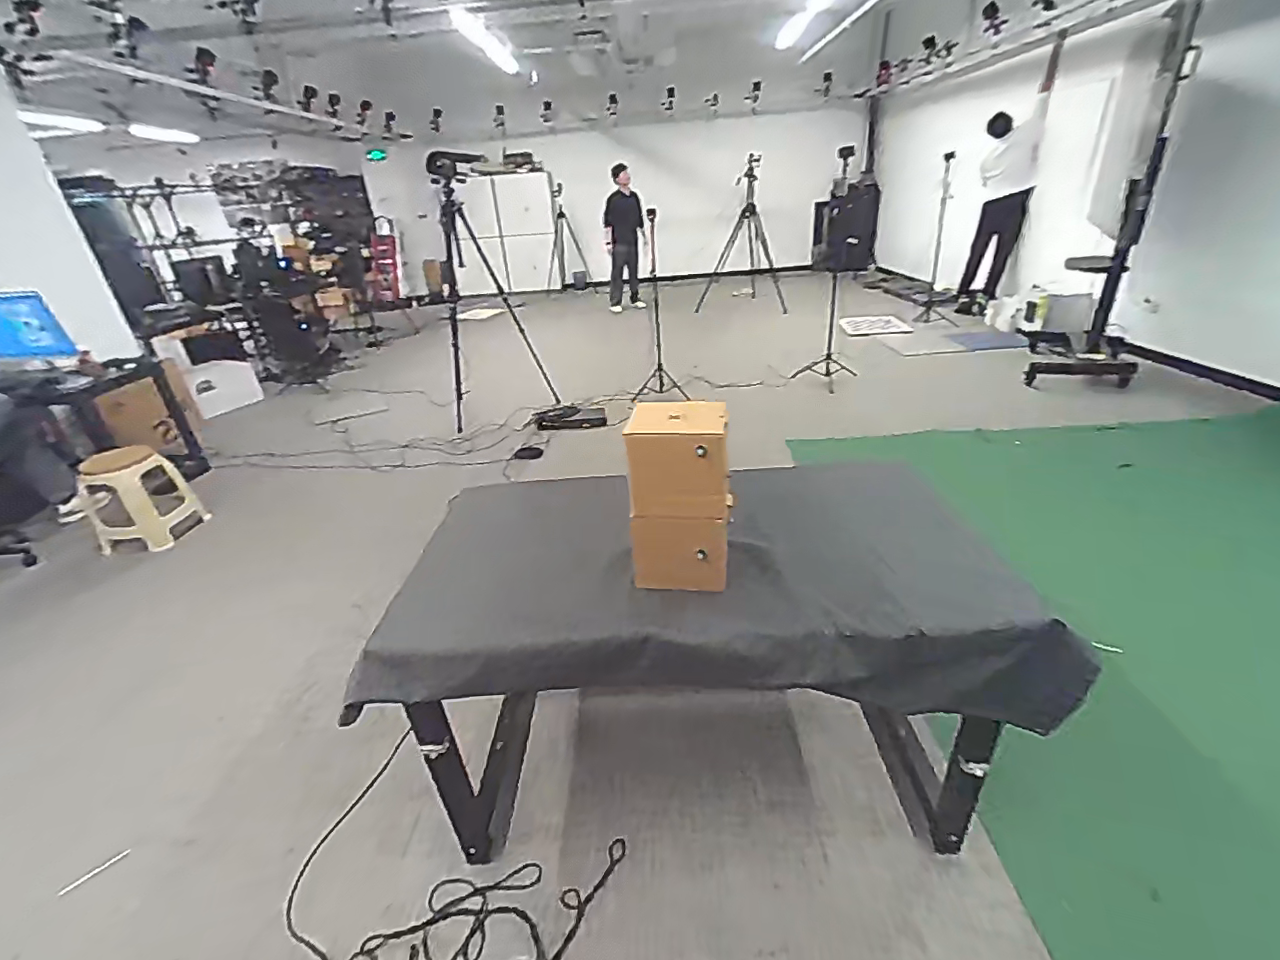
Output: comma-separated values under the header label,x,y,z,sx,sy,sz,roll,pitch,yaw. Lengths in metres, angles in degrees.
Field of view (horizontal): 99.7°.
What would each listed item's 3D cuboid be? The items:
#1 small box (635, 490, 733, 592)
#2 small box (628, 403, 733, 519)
label,x,y,z,sx,sy,sz,roll,pitch,yaw
small box,0.095,0.109,1.081,0.179,0.176,0.168,0,26,11
small box,0.084,-0.038,1.011,0.179,0.176,0.168,1,27,10
